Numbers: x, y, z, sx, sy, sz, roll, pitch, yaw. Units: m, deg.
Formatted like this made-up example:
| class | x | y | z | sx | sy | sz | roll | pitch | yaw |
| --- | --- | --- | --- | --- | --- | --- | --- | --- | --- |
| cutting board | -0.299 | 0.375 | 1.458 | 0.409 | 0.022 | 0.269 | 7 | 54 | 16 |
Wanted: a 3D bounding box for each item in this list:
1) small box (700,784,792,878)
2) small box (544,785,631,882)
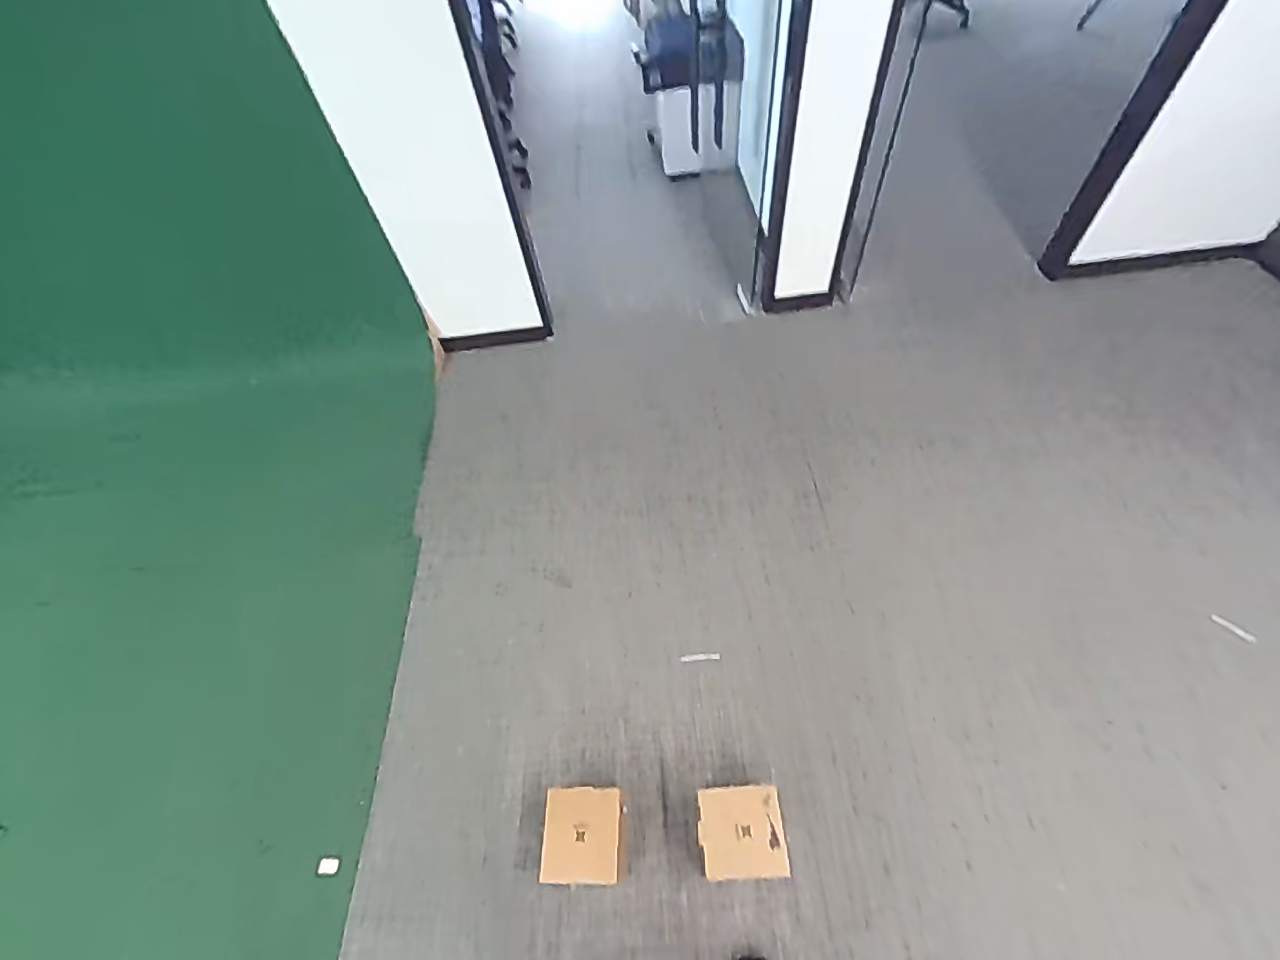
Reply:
| class | x | y | z | sx | sy | sz | roll | pitch | yaw |
| --- | --- | --- | --- | --- | --- | --- | --- | --- | --- |
| small box | 0.230 | 0.785 | 1.208 | 0.179 | 0.176 | 0.168 | -5 | 54 | 4 |
| small box | -0.111 | 0.808 | 1.236 | 0.168 | 0.176 | 0.179 | -3 | 54 | 5 |
